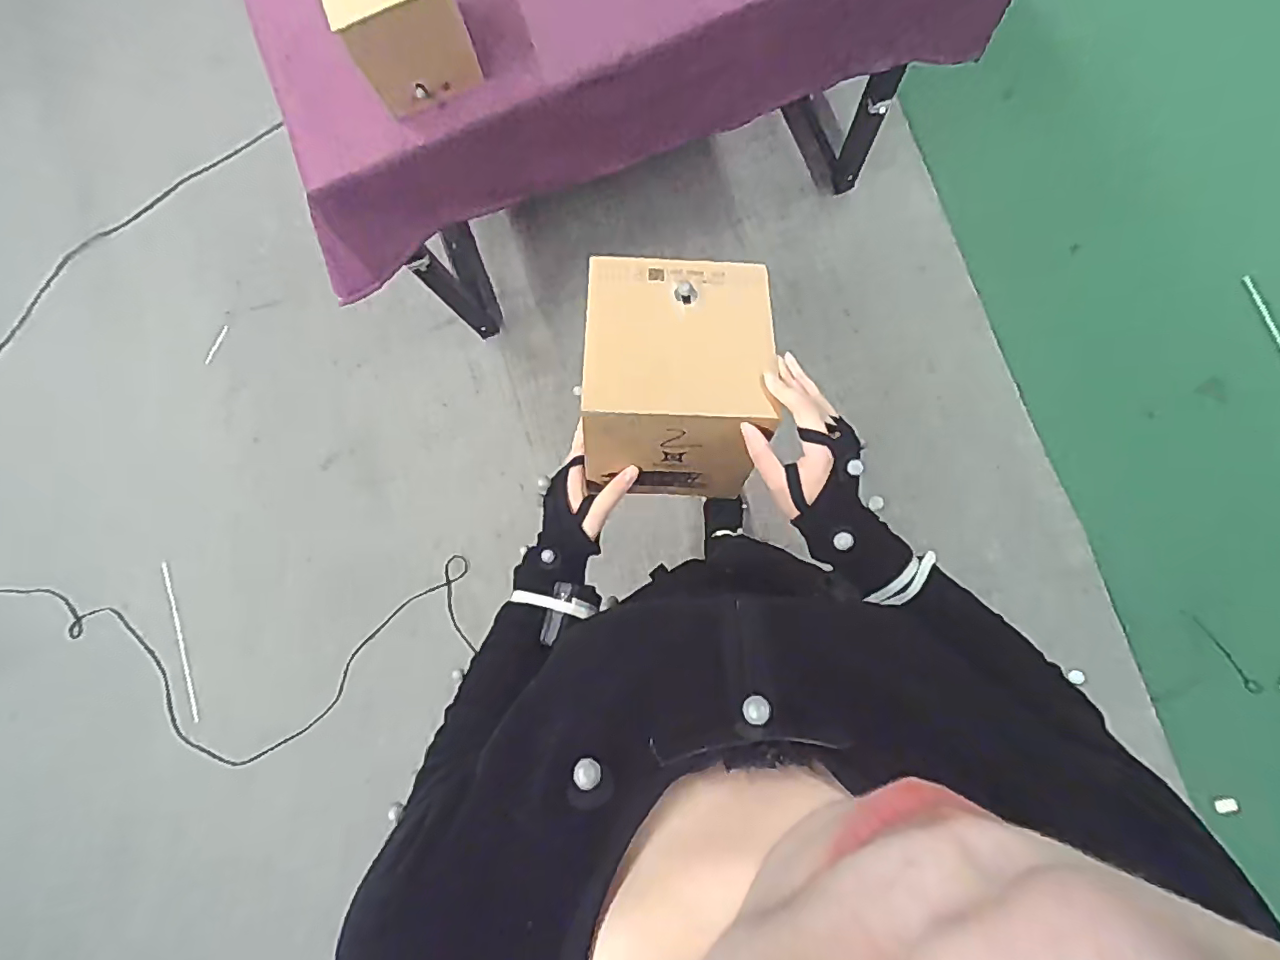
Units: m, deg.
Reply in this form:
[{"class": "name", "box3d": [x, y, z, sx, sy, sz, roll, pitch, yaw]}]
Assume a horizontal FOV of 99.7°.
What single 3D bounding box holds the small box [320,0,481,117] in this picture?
[{"class": "small box", "box3d": [-0.371, -0.718, 0.833, 0.168, 0.176, 0.179, -20, 83, 4]}]
